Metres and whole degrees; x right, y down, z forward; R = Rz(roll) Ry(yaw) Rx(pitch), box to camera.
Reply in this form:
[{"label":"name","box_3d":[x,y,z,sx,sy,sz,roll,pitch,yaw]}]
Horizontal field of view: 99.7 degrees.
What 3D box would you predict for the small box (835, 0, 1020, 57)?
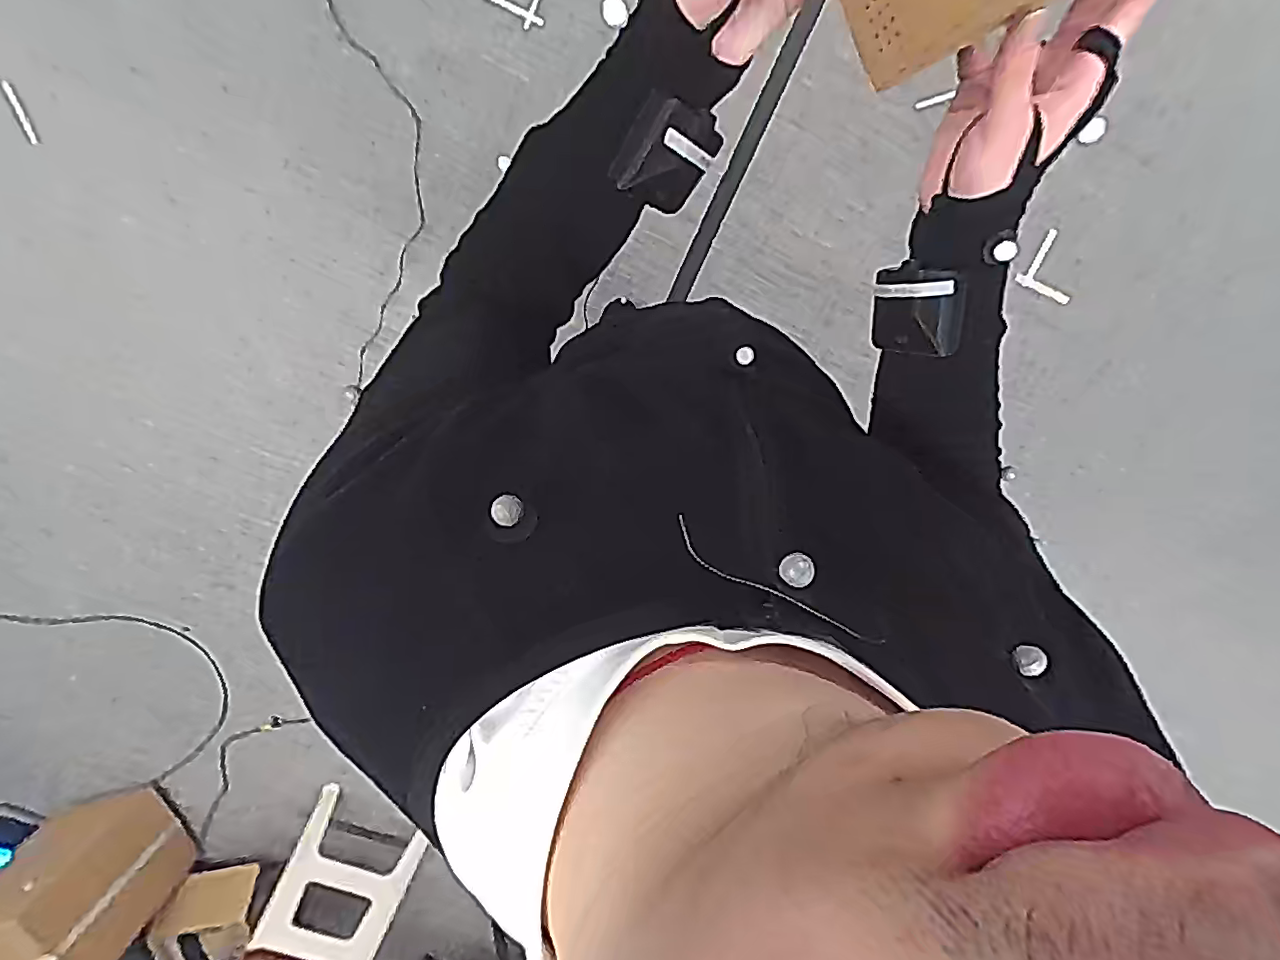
[{"label":"small box","box_3d":[0.162,-0.300,0.190,0.168,0.176,0.179,-31,105,-3]}]
